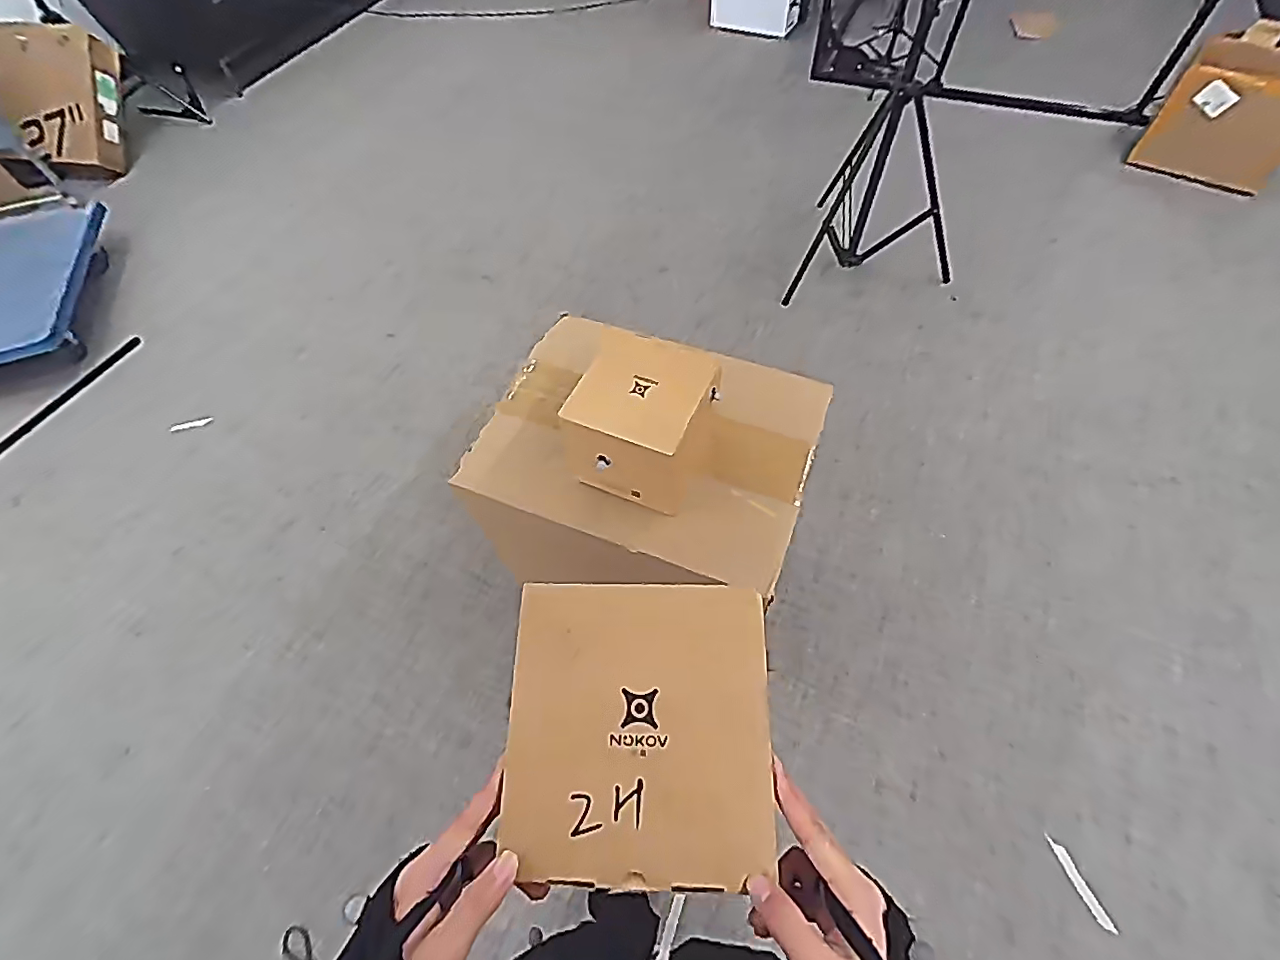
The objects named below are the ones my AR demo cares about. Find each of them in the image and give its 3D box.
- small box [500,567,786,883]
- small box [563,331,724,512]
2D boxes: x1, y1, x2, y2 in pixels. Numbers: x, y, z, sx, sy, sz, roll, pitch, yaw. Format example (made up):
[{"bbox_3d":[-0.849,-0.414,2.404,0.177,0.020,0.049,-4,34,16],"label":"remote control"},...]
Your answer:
[{"bbox_3d":[0.009,0.173,0.410,0.168,0.176,0.179,0,68,5],"label":"small box"},{"bbox_3d":[0.013,-0.079,0.784,0.168,0.176,0.179,20,61,16],"label":"small box"}]
